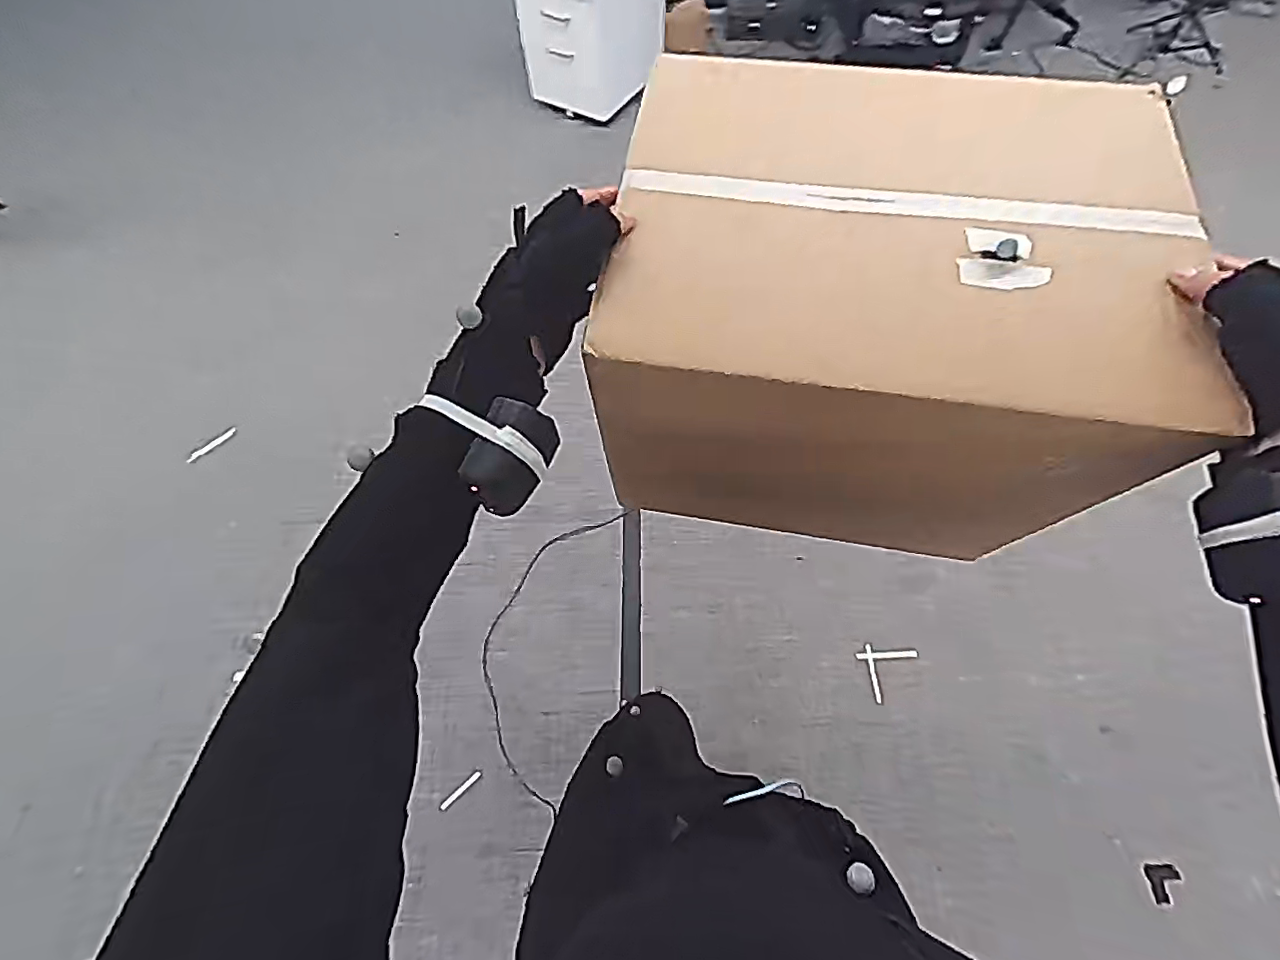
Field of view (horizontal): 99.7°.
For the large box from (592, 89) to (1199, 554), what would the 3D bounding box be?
[{"bbox_3d":[0.185,-0.132,0.550,0.408,0.320,0.320,8,69,5],"label":"large box"}]
